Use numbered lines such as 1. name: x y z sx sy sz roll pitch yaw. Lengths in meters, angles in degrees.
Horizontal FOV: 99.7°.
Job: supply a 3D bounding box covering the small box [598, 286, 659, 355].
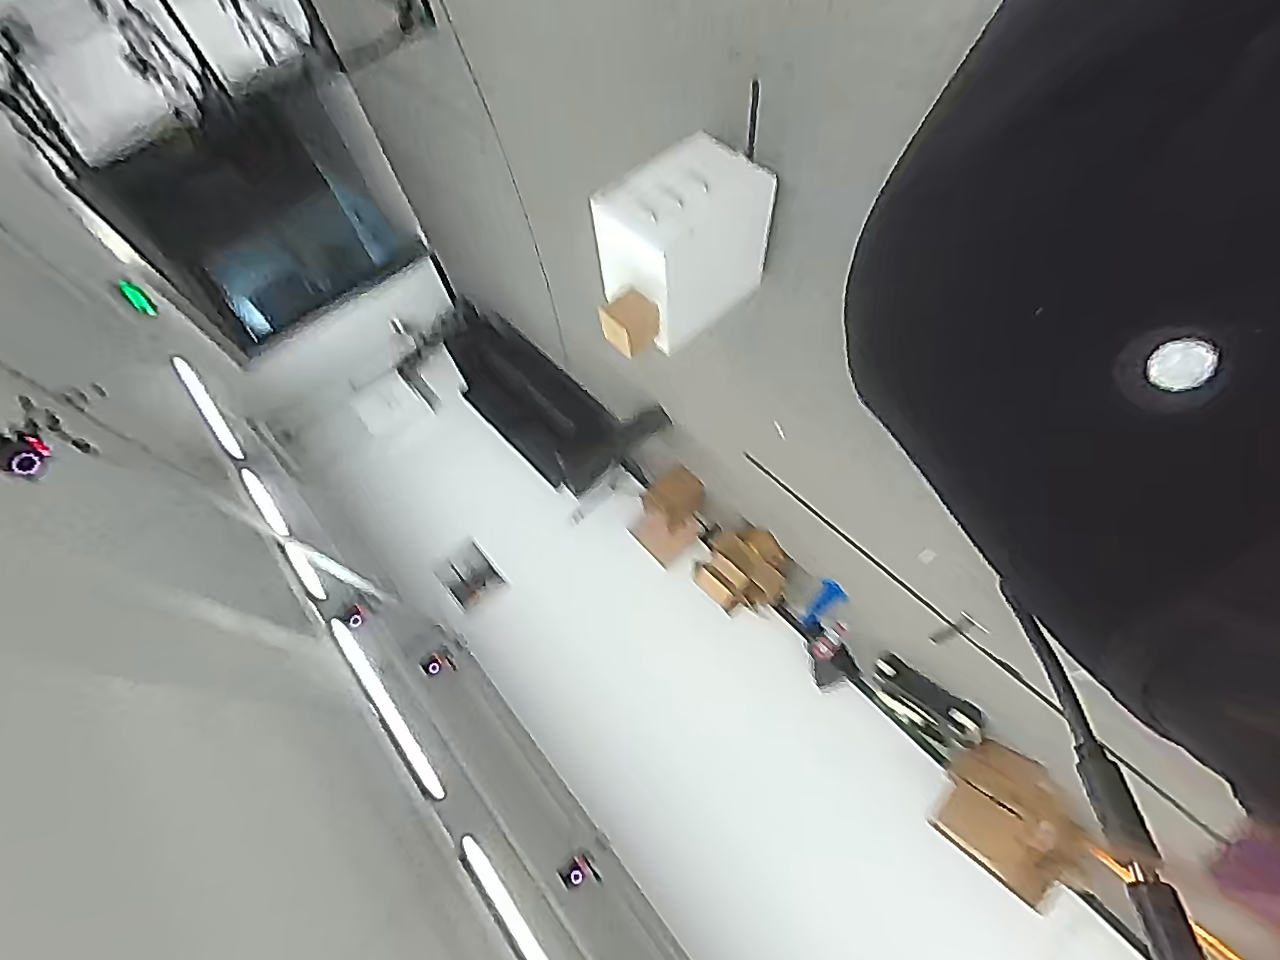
1. small box: -0.042 -0.634 2.130 0.179 0.176 0.168 45 165 21
